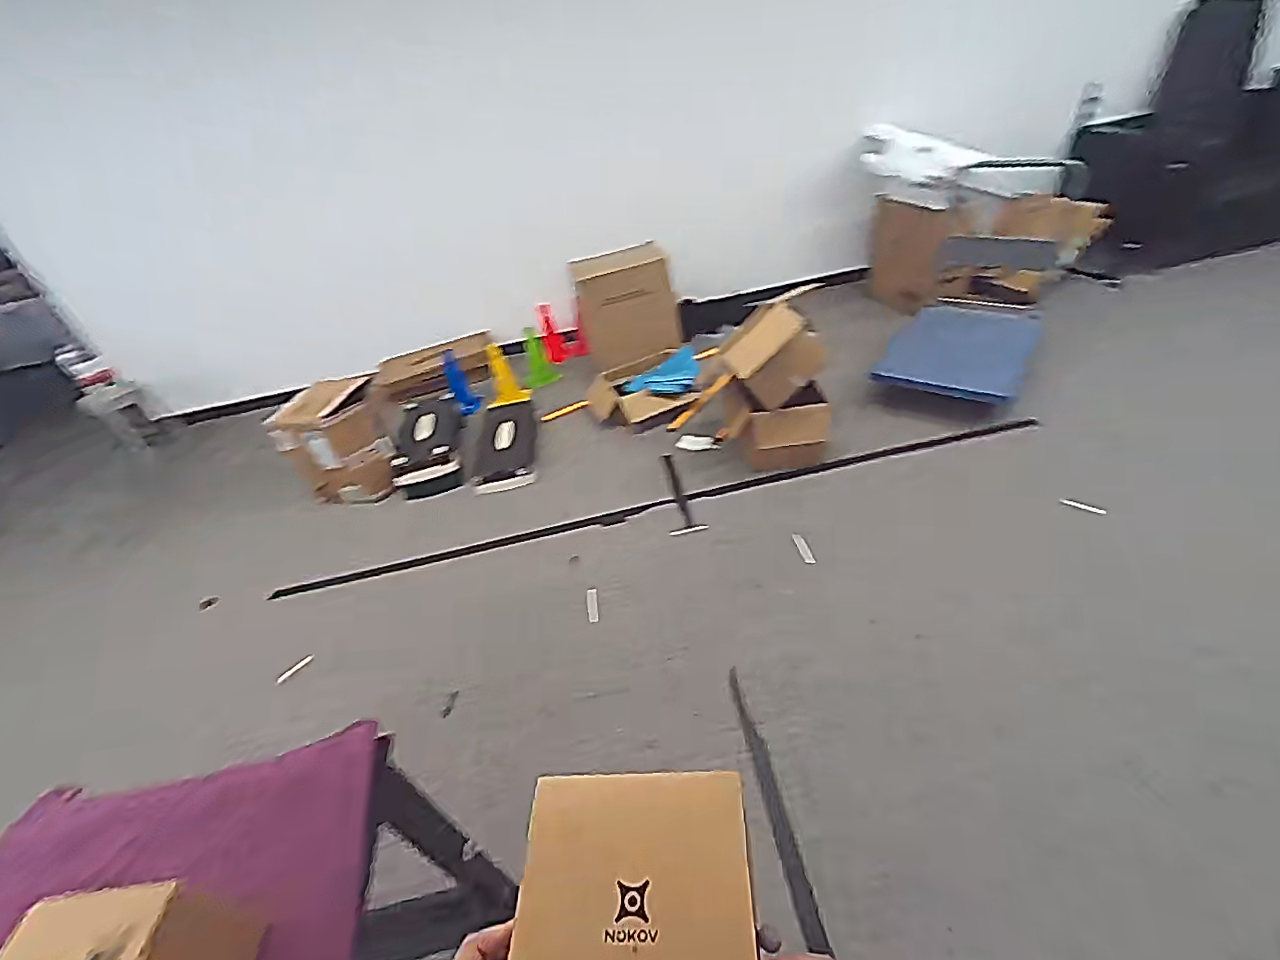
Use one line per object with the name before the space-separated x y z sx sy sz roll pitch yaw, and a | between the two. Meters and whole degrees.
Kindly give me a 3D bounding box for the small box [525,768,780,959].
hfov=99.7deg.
small box | 0.019 0.347 0.415 0.168 0.176 0.179 -4 40 8
